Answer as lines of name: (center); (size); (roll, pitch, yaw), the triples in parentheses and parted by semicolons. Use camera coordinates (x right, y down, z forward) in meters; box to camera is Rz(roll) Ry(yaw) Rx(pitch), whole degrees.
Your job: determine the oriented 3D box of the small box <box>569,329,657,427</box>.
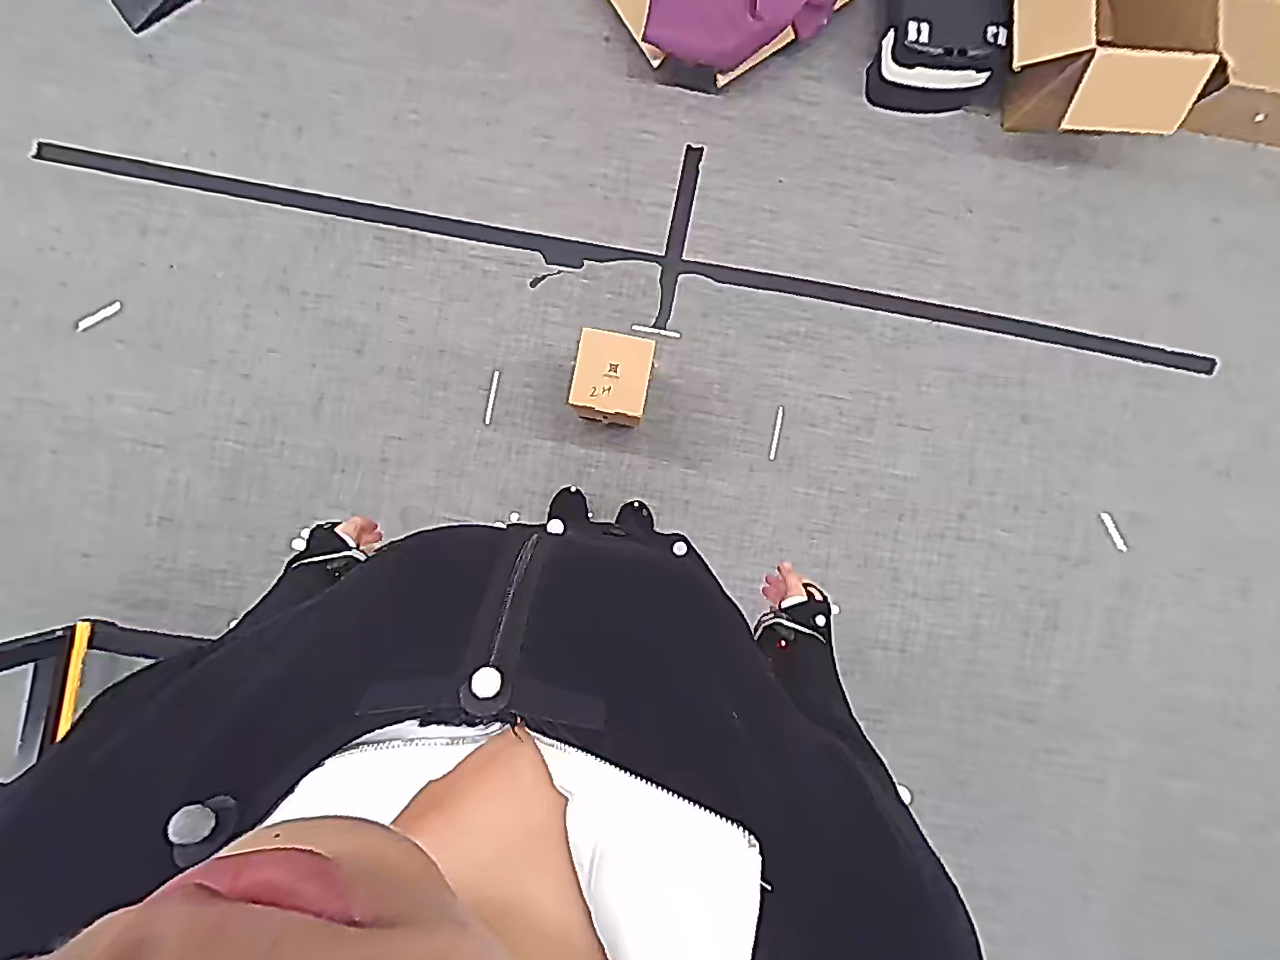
small box: (-0.061, -0.231, 1.263); (0.168, 0.176, 0.179); (11, 89, -1)
